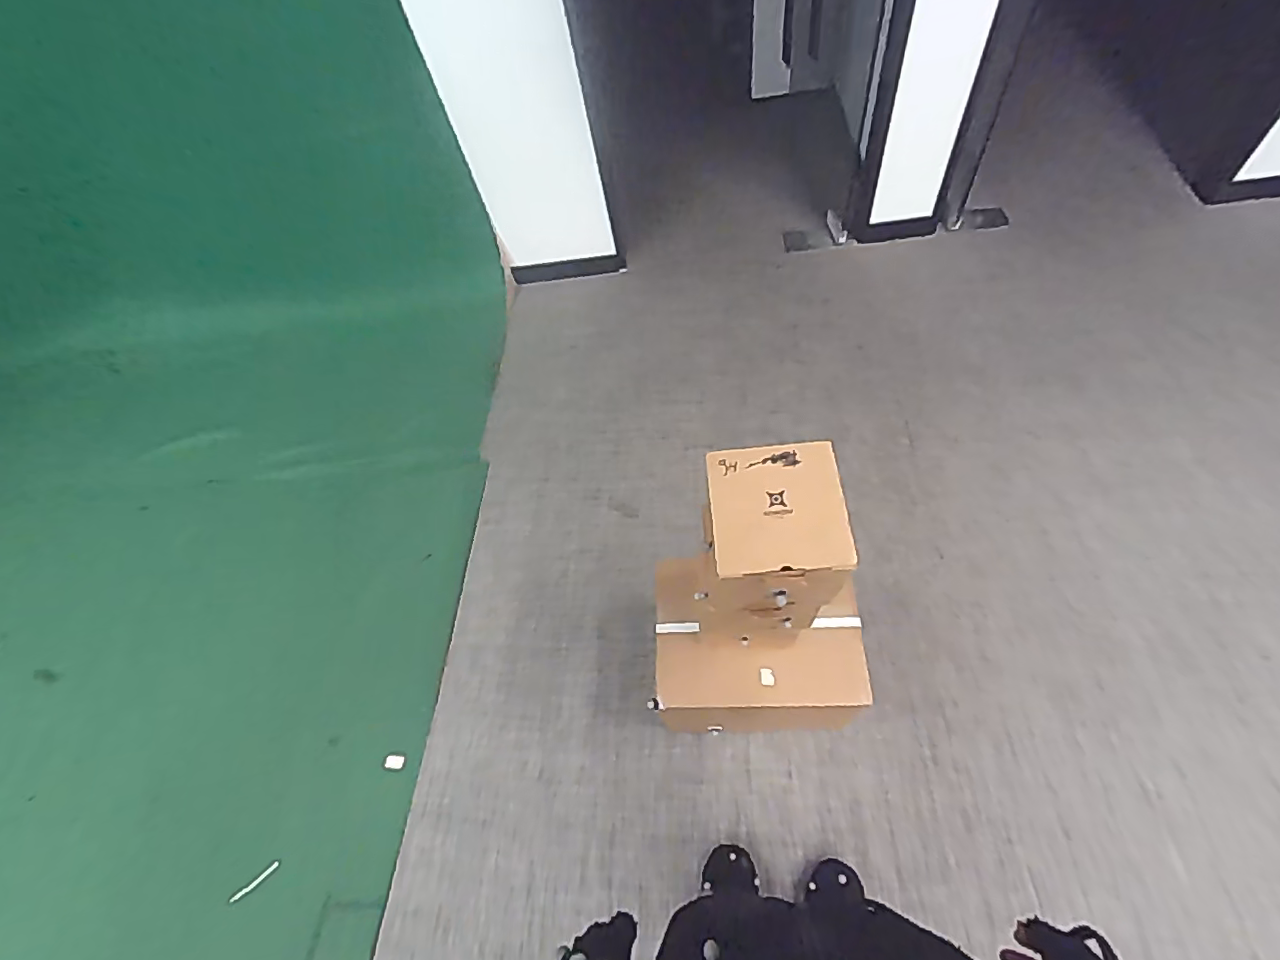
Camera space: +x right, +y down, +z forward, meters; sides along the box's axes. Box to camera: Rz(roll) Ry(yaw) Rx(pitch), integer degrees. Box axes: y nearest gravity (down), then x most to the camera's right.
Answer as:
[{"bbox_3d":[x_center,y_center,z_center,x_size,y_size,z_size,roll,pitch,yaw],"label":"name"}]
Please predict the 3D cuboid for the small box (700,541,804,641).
[{"bbox_3d":[0.209,0.213,1.044,0.179,0.176,0.168,-4,64,8],"label":"small box"}]

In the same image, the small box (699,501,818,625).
[{"bbox_3d":[0.191,0.139,0.900,0.168,0.176,0.179,-5,62,6],"label":"small box"}]

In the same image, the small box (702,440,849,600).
[{"bbox_3d":[0.179,0.066,0.755,0.168,0.176,0.179,-5,64,7],"label":"small box"}]
